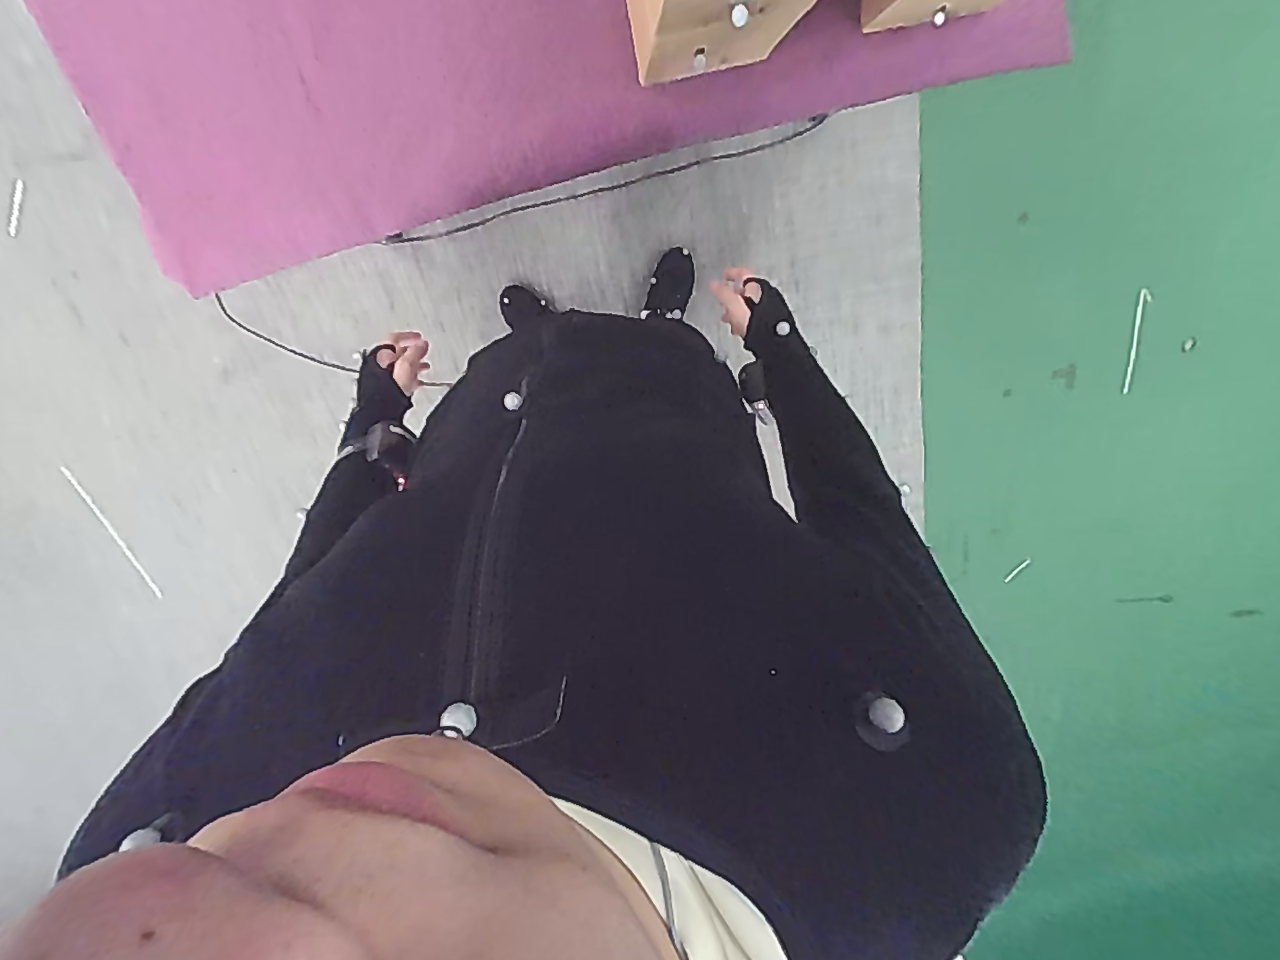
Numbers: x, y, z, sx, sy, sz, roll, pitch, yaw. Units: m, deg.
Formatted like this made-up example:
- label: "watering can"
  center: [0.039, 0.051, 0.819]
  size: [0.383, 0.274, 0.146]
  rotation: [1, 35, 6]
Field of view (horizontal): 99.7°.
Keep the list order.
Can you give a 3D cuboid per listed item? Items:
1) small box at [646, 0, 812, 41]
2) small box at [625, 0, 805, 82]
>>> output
- label: "small box"
  center: [0.080, -0.500, 0.433]
  size: [0.168, 0.176, 0.179]
  rotation: [-11, 113, 1]
- label: "small box"
  center: [0.069, -0.561, 0.585]
  size: [0.168, 0.176, 0.179]
  rotation: [-12, 112, 1]
